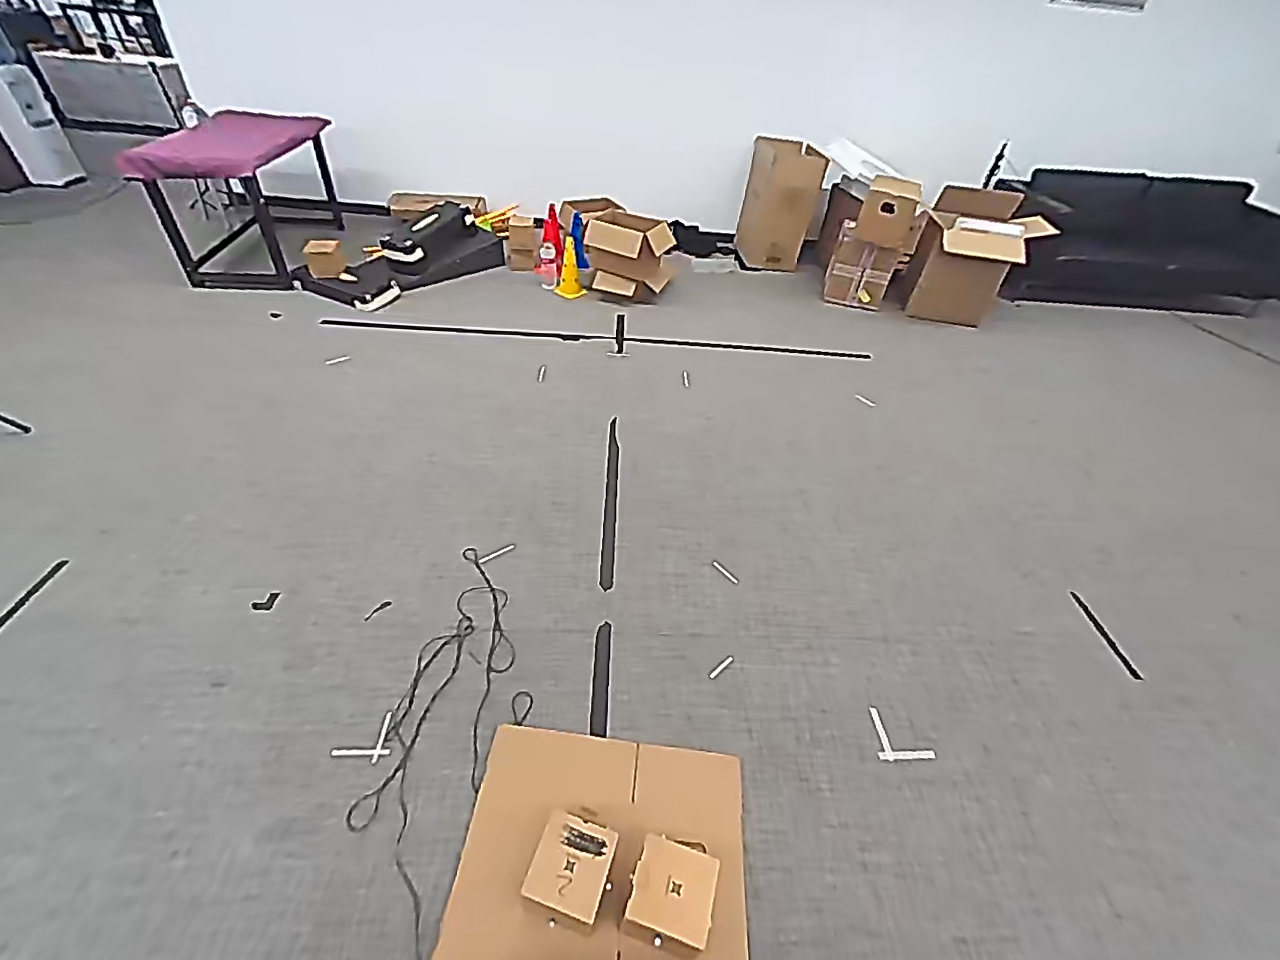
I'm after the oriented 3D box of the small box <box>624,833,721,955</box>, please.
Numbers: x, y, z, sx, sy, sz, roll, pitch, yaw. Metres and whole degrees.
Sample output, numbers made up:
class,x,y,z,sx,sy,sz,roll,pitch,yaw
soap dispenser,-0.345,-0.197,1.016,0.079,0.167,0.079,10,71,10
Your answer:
class,x,y,z,sx,sy,sz,roll,pitch,yaw
small box,0.072,0.949,1.236,0.179,0.176,0.168,15,43,10
